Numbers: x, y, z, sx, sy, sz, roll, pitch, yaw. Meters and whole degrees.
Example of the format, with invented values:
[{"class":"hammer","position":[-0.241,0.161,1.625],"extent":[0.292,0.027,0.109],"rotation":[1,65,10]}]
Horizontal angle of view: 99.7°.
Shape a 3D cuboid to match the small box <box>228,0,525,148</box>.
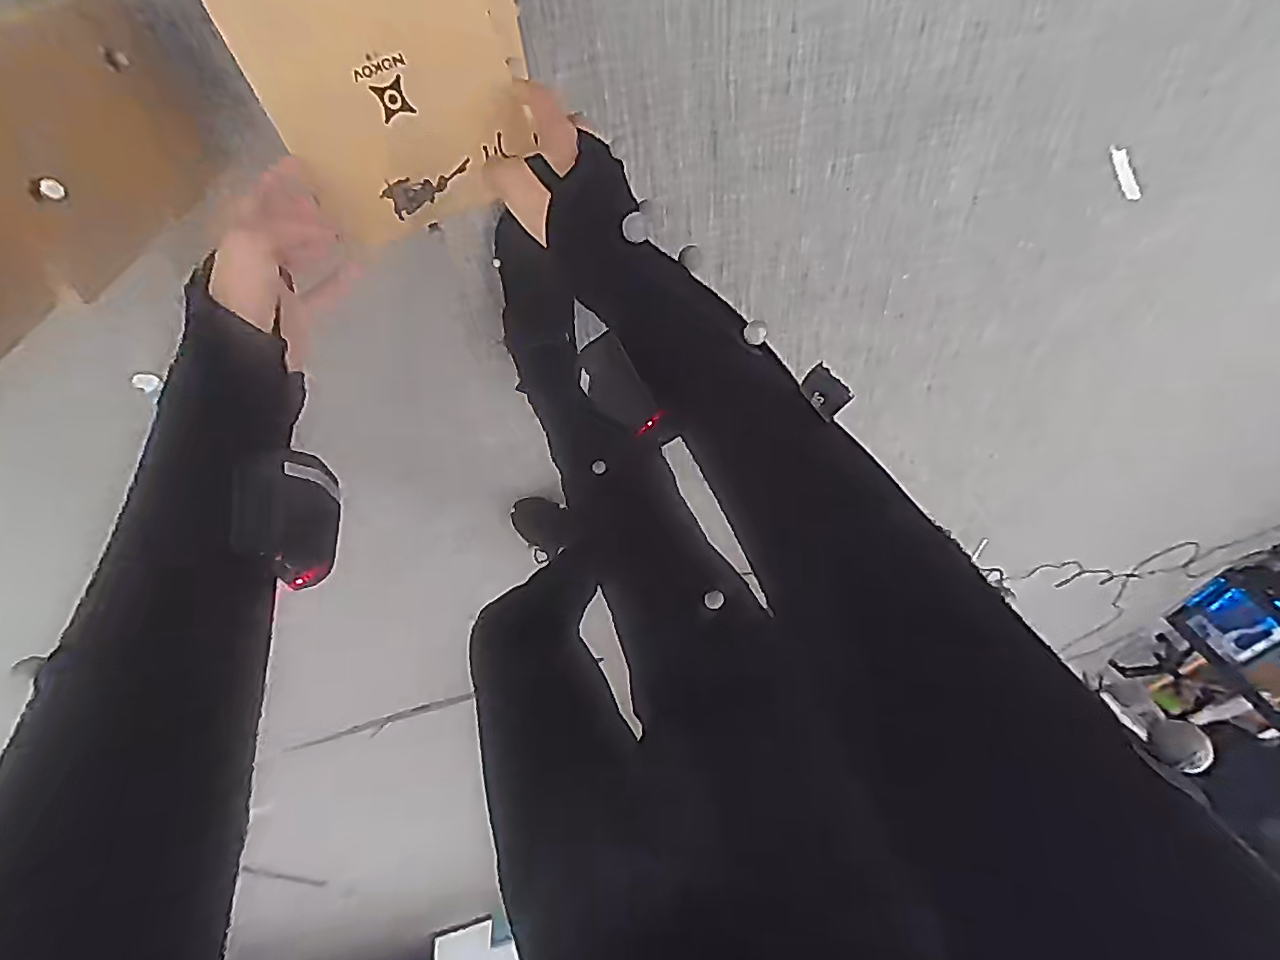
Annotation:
[{"class":"small box","position":[-0.196,-0.368,0.396],"extent":[0.168,0.176,0.179],"rotation":[-20,121,-1]}]
